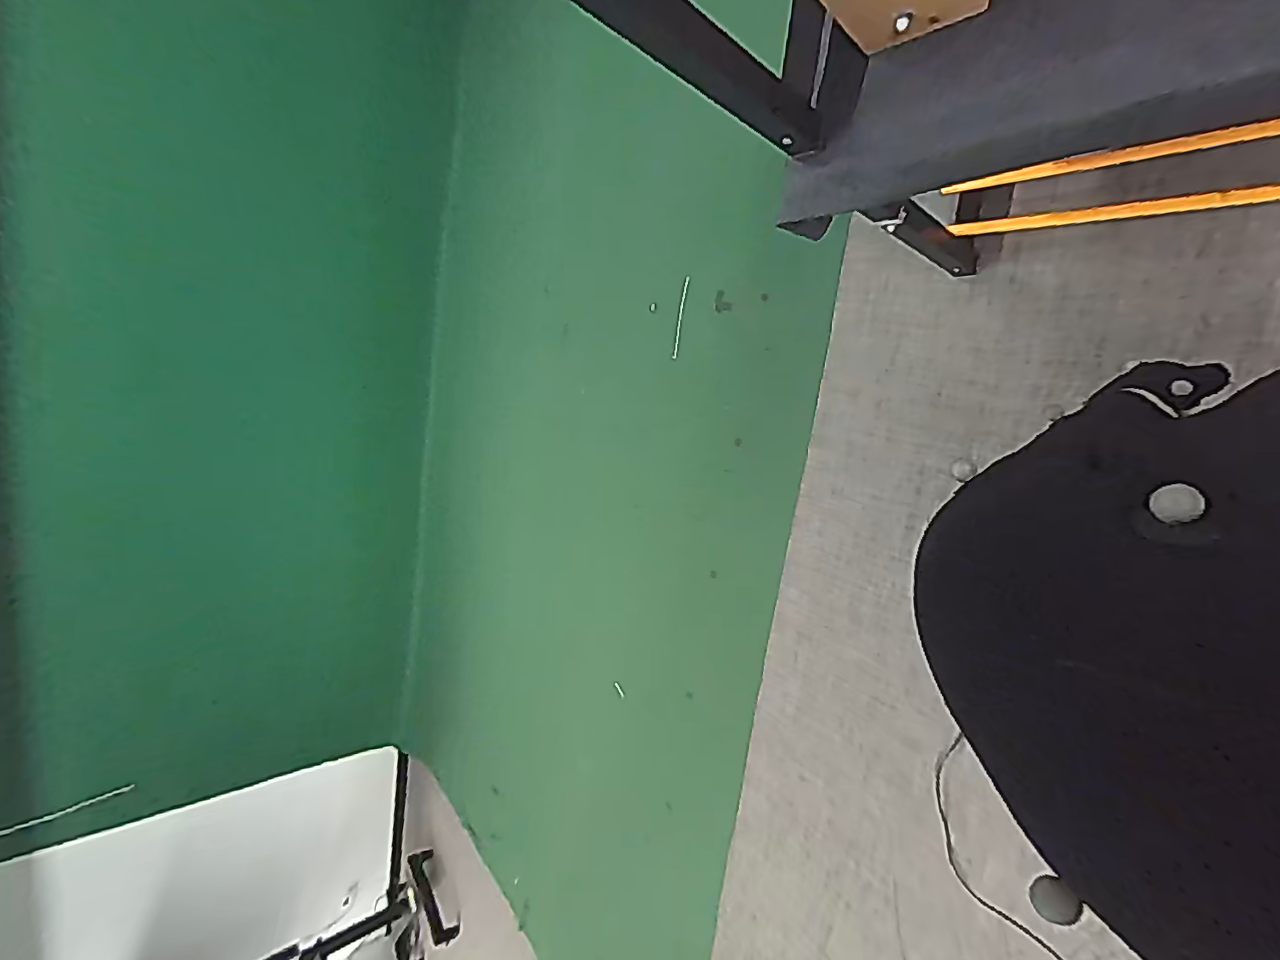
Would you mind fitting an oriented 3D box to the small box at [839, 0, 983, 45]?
[{"bbox_3d":[0.350,-0.718,0.691,0.168,0.176,0.179,17,103,47],"label":"small box"}]
